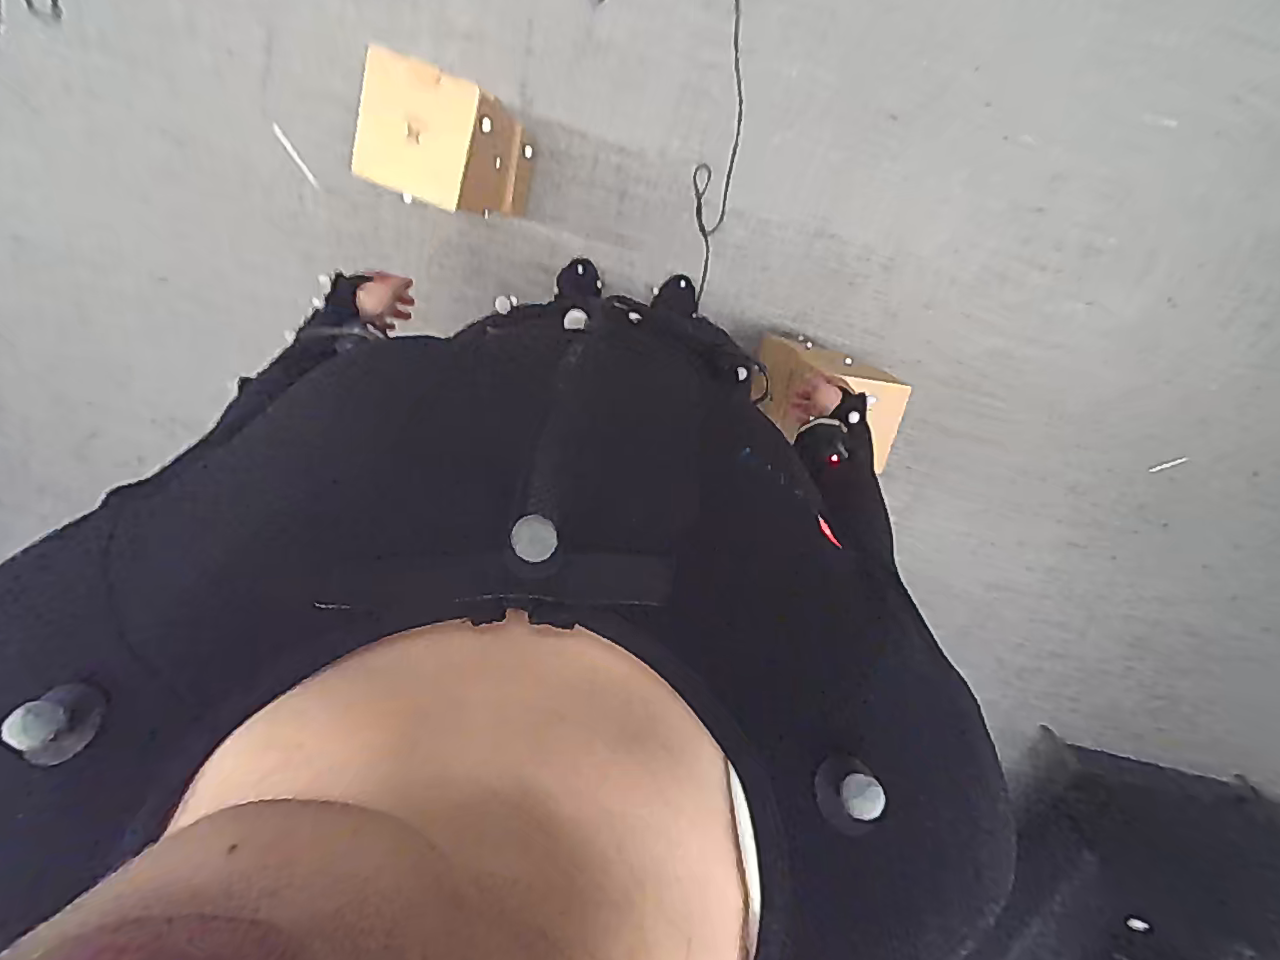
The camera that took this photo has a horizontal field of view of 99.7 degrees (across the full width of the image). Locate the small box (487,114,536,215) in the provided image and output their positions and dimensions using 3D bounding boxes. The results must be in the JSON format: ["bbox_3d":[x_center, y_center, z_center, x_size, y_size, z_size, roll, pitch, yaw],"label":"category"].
[{"bbox_3d":[-0.331,-0.696,1.180,0.168,0.176,0.179,13,113,-5],"label":"small box"}]

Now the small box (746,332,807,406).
[{"bbox_3d":[0.382,-0.269,1.367,0.179,0.176,0.168,13,113,-5],"label":"small box"}]

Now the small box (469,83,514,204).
[{"bbox_3d":[-0.347,-0.640,1.025,0.168,0.176,0.179,14,112,-6],"label":"small box"}]

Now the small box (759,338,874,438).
[{"bbox_3d":[0.383,-0.213,1.213,0.179,0.176,0.168,10,115,-6],"label":"small box"}]

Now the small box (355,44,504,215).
[{"bbox_3d":[-0.335,-0.553,0.885,0.168,0.176,0.179,18,111,-7],"label":"small box"}]
